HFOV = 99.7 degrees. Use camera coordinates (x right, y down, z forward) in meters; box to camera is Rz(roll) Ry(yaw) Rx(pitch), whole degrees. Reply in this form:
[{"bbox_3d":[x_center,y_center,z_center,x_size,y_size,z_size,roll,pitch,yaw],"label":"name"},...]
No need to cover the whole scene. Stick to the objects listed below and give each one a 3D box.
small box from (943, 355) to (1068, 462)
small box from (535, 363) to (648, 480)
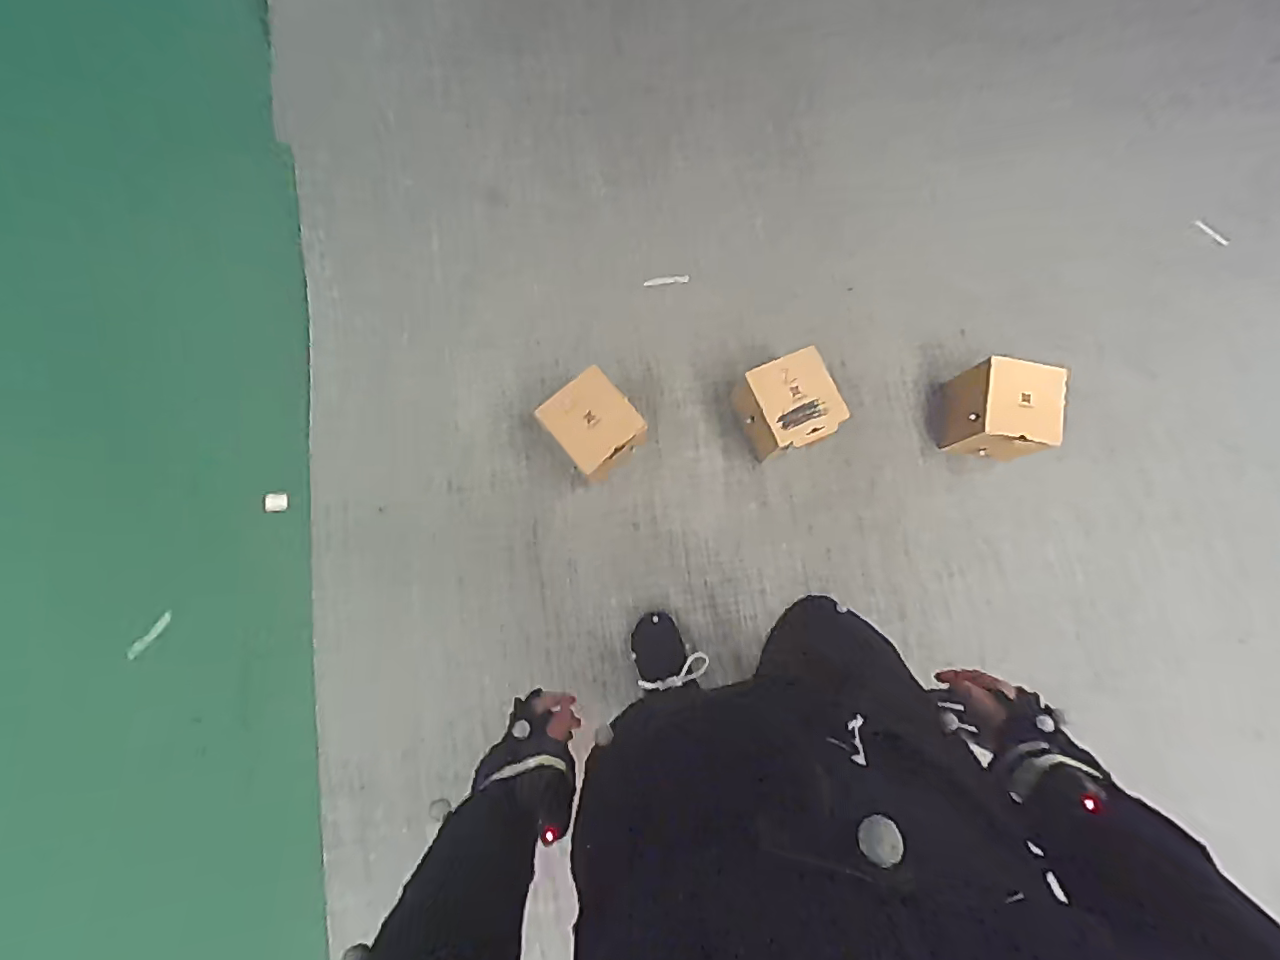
[{"bbox_3d":[0.807,-0.153,1.207,0.168,0.176,0.179,11,81,0],"label":"small box"},{"bbox_3d":[-0.100,-0.115,1.174,0.168,0.176,0.179,-40,83,-8],"label":"small box"}]
